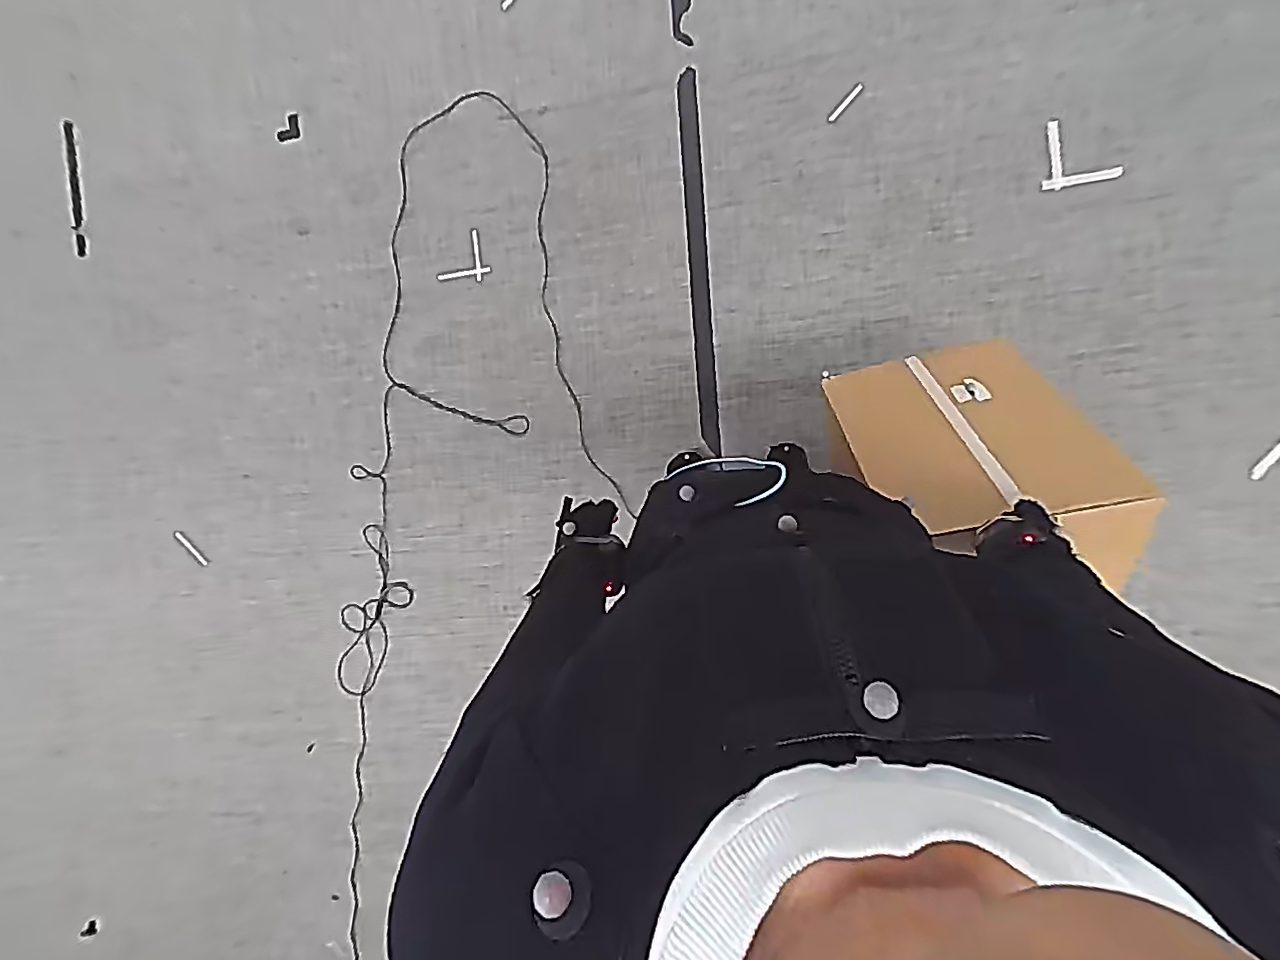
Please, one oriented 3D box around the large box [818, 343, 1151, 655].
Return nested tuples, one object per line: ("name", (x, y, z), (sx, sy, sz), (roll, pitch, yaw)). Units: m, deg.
("large box", (0.526, 0.026, 0.932), (0.320, 0.408, 0.320), (-12, 130, 9))
